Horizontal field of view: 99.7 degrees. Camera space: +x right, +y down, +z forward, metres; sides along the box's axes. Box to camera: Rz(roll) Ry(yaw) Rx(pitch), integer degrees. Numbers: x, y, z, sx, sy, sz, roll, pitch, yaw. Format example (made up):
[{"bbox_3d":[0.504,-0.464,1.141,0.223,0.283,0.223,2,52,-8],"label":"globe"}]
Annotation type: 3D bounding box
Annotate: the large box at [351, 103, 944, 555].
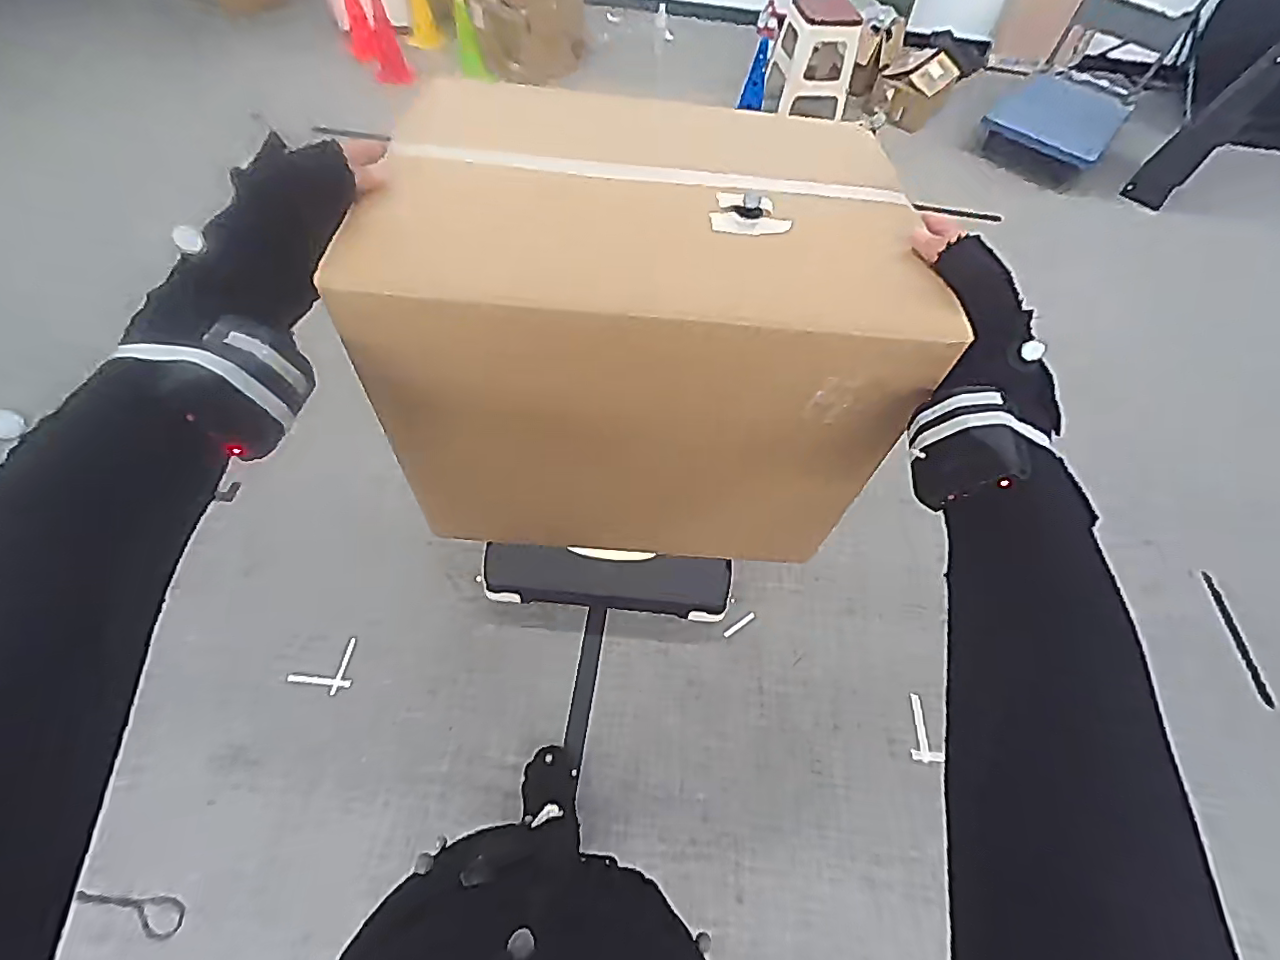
[{"bbox_3d":[-0.001,-0.135,0.559,0.408,0.320,0.320,5,55,-3],"label":"large box"}]
